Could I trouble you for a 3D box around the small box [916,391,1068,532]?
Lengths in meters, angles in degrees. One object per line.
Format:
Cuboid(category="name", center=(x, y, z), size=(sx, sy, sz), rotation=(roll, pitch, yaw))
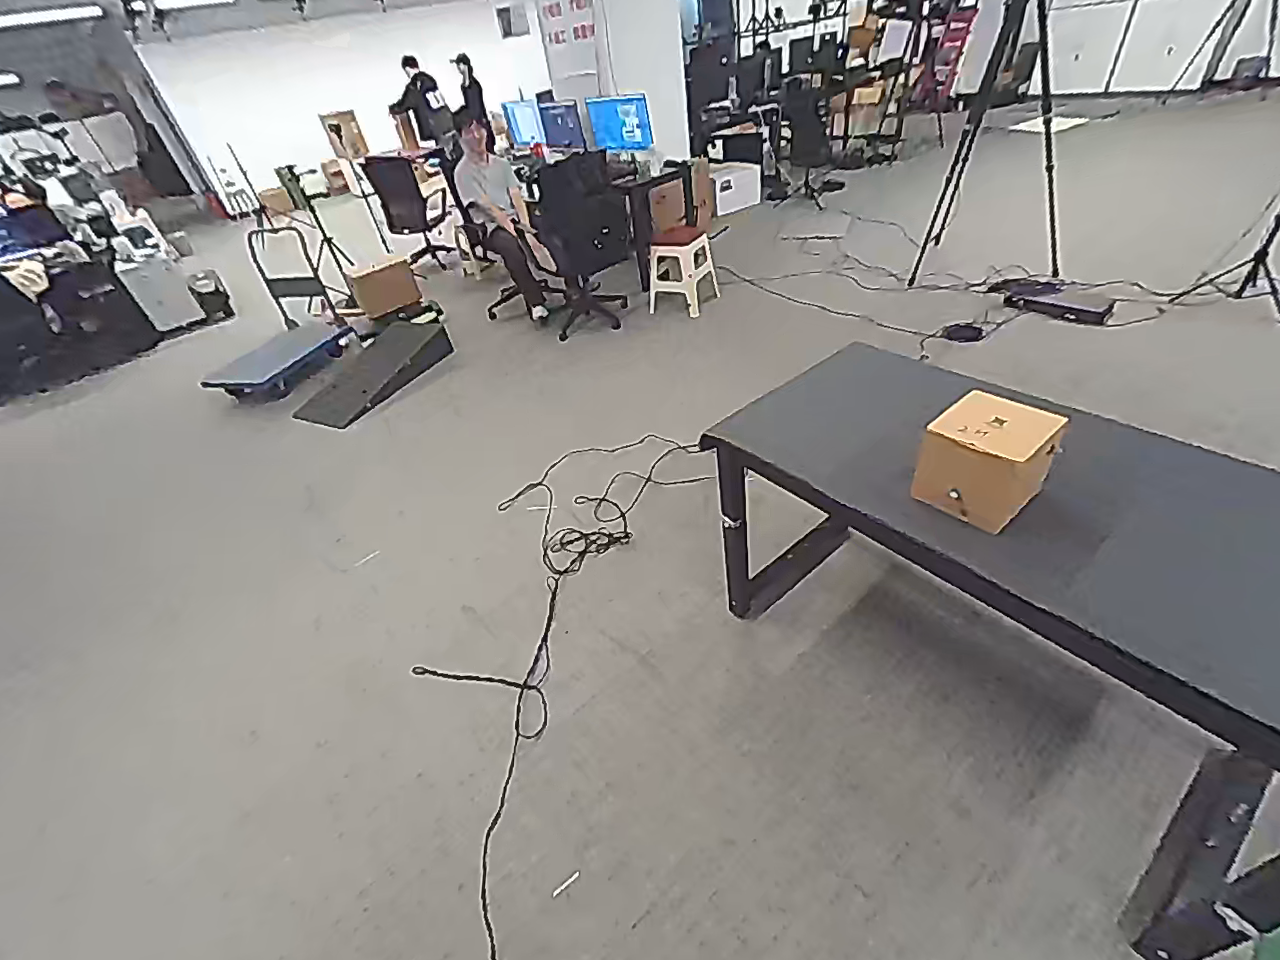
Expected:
Cuboid(category="small box", center=(0.645, -0.037, 1.011), size=(0.179, 0.176, 0.168), rotation=(-32, 42, -24))
